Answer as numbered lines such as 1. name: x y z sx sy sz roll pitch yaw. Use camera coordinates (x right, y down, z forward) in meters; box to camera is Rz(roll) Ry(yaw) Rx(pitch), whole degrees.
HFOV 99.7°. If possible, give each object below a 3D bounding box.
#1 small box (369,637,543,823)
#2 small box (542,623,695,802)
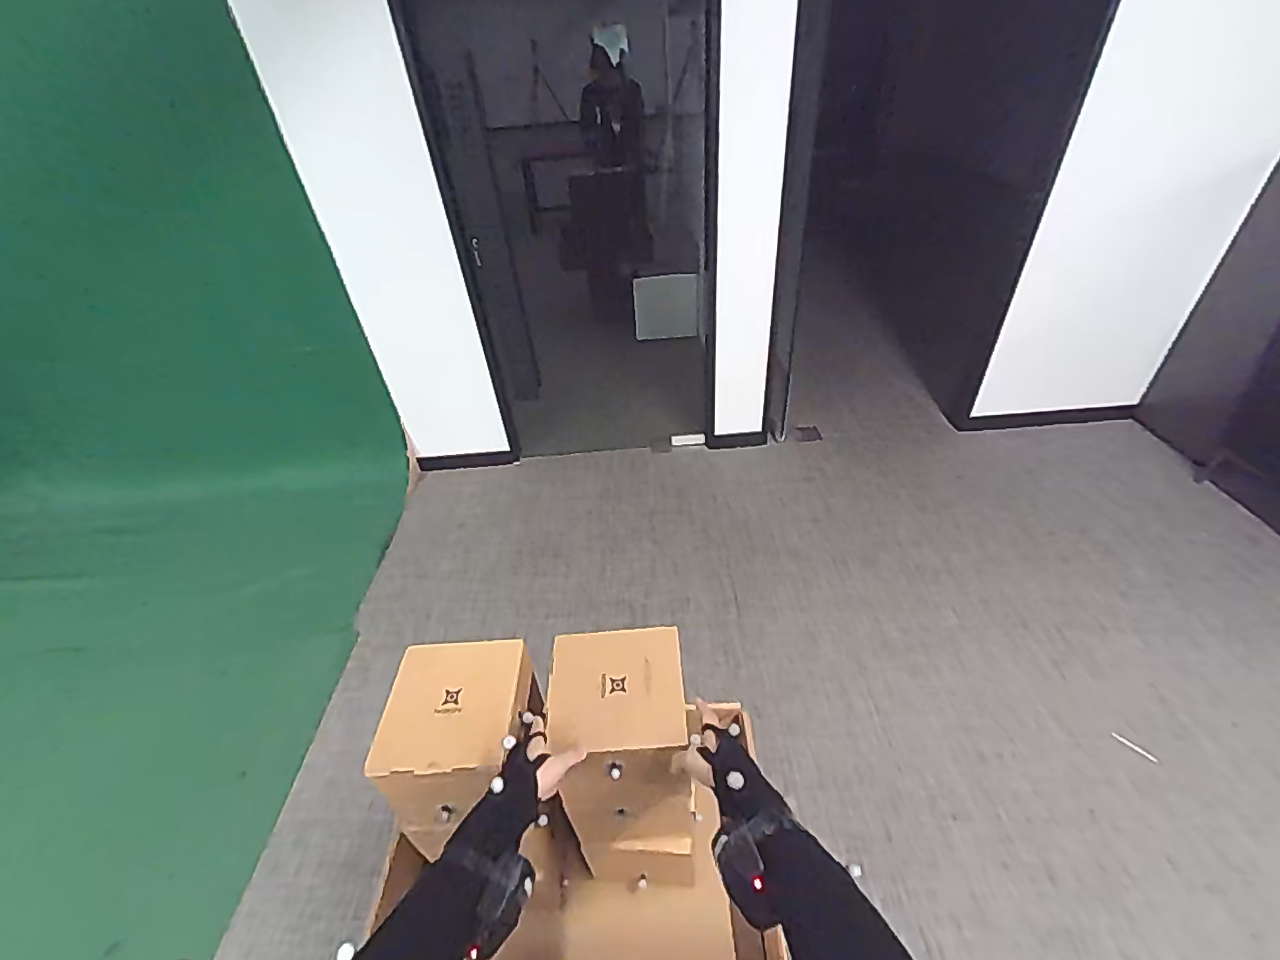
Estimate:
1. small box: -0.233 0.340 0.741 0.168 0.176 0.179 -4 39 1
2. small box: -0.022 0.319 0.739 0.179 0.176 0.168 -5 39 3
